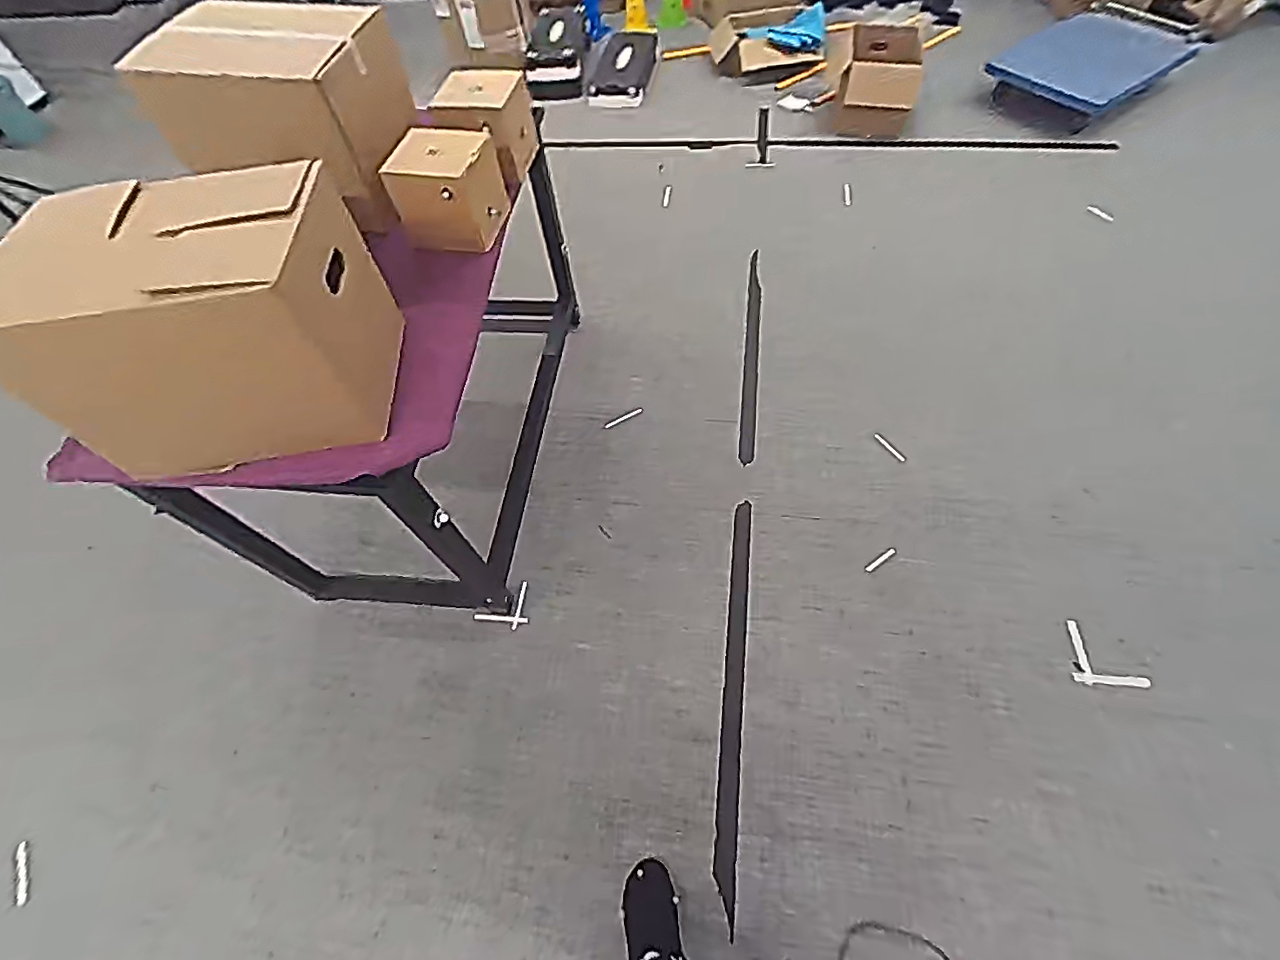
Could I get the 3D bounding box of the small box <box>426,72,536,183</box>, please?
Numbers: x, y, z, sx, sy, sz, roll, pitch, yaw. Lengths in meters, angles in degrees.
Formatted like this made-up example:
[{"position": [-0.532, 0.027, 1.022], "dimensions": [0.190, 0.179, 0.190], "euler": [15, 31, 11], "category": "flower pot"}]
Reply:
[{"position": [-0.358, -0.817, 1.263], "dimensions": [0.179, 0.176, 0.168], "euler": [6, 59, 9], "category": "small box"}]
